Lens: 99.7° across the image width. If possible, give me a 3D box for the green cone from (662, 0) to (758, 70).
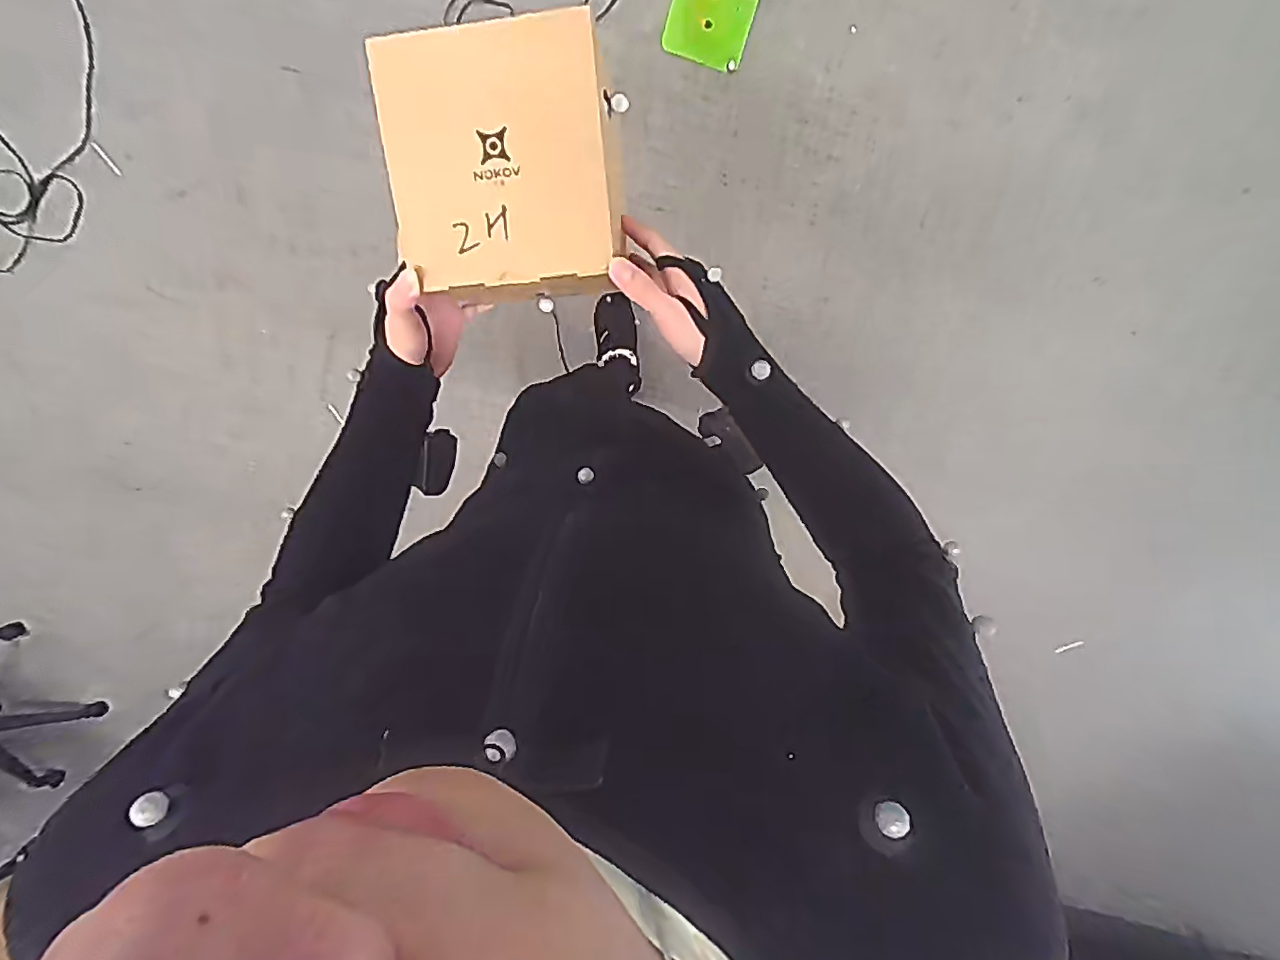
[{"bbox_3d":[0.166,-1.080,1.133,0.202,0.368,0.200,16,104,-3],"label":"green cone"}]
